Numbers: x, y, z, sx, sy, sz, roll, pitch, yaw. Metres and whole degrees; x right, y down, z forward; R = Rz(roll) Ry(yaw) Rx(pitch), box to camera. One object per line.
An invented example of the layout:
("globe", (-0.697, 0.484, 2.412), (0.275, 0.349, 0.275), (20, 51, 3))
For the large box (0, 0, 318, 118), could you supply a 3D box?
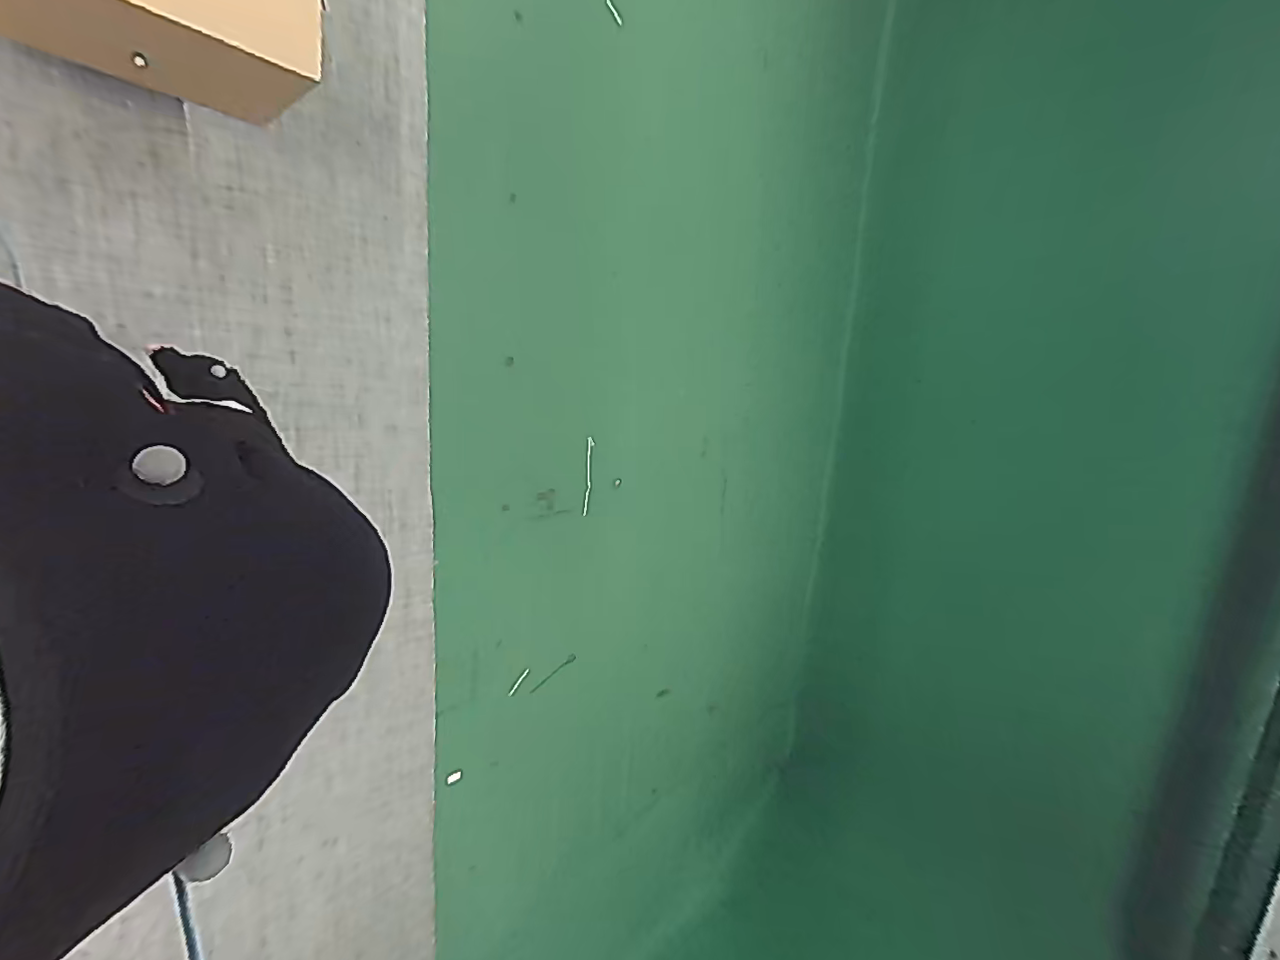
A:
("large box", (-0.753, -0.810, 0.801), (0.408, 0.320, 0.320), (-7, 106, -48))
